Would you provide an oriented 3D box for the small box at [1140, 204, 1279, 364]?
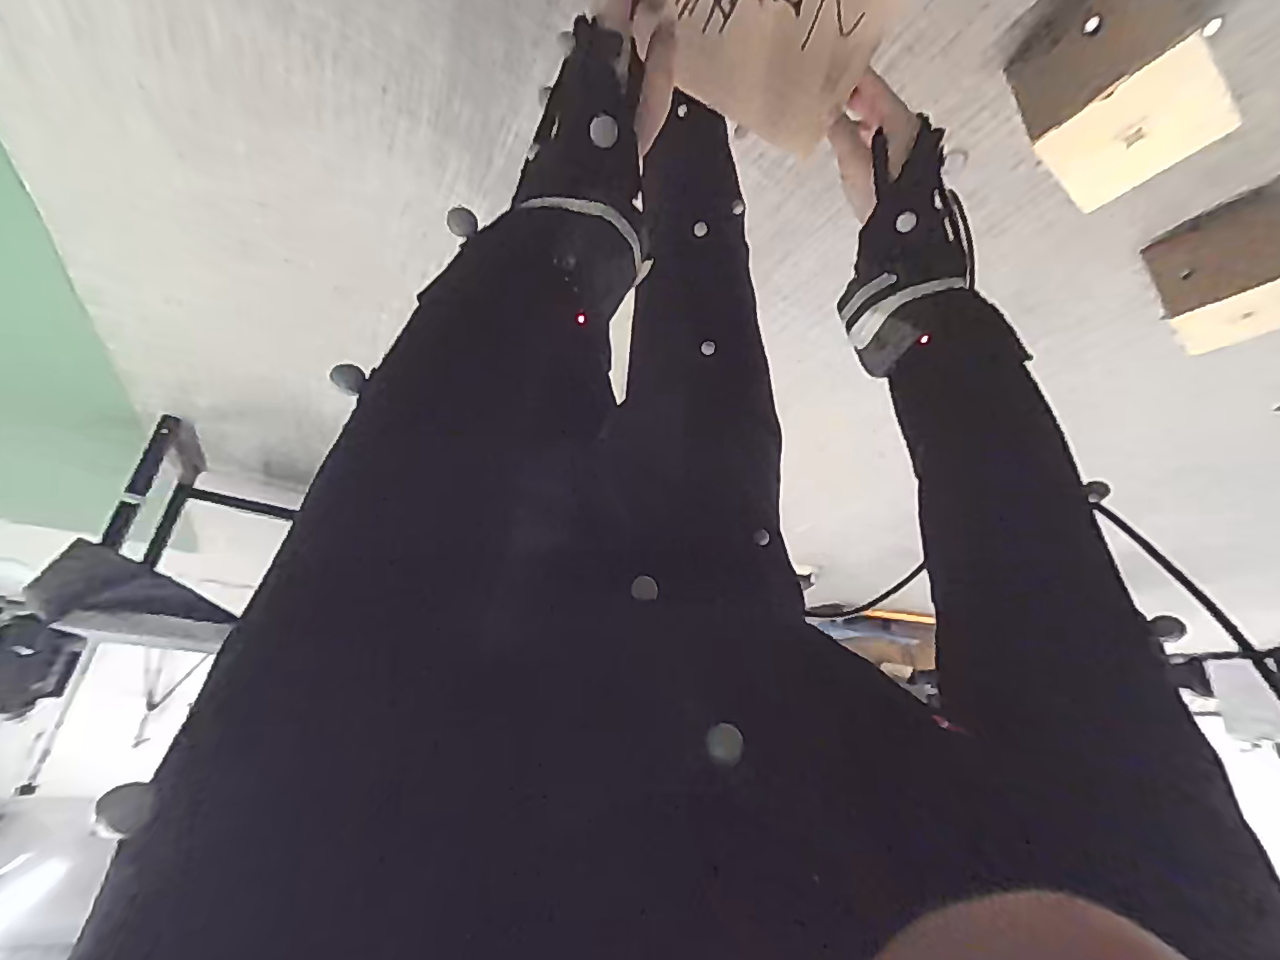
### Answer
[{"bbox_3d":[1.056,-0.349,0.983,0.168,0.176,0.179,21,150,-33],"label":"small box"}]

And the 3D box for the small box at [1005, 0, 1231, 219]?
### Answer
[{"bbox_3d":[0.628,-0.504,0.724,0.179,0.176,0.168,20,151,-29],"label":"small box"}]
